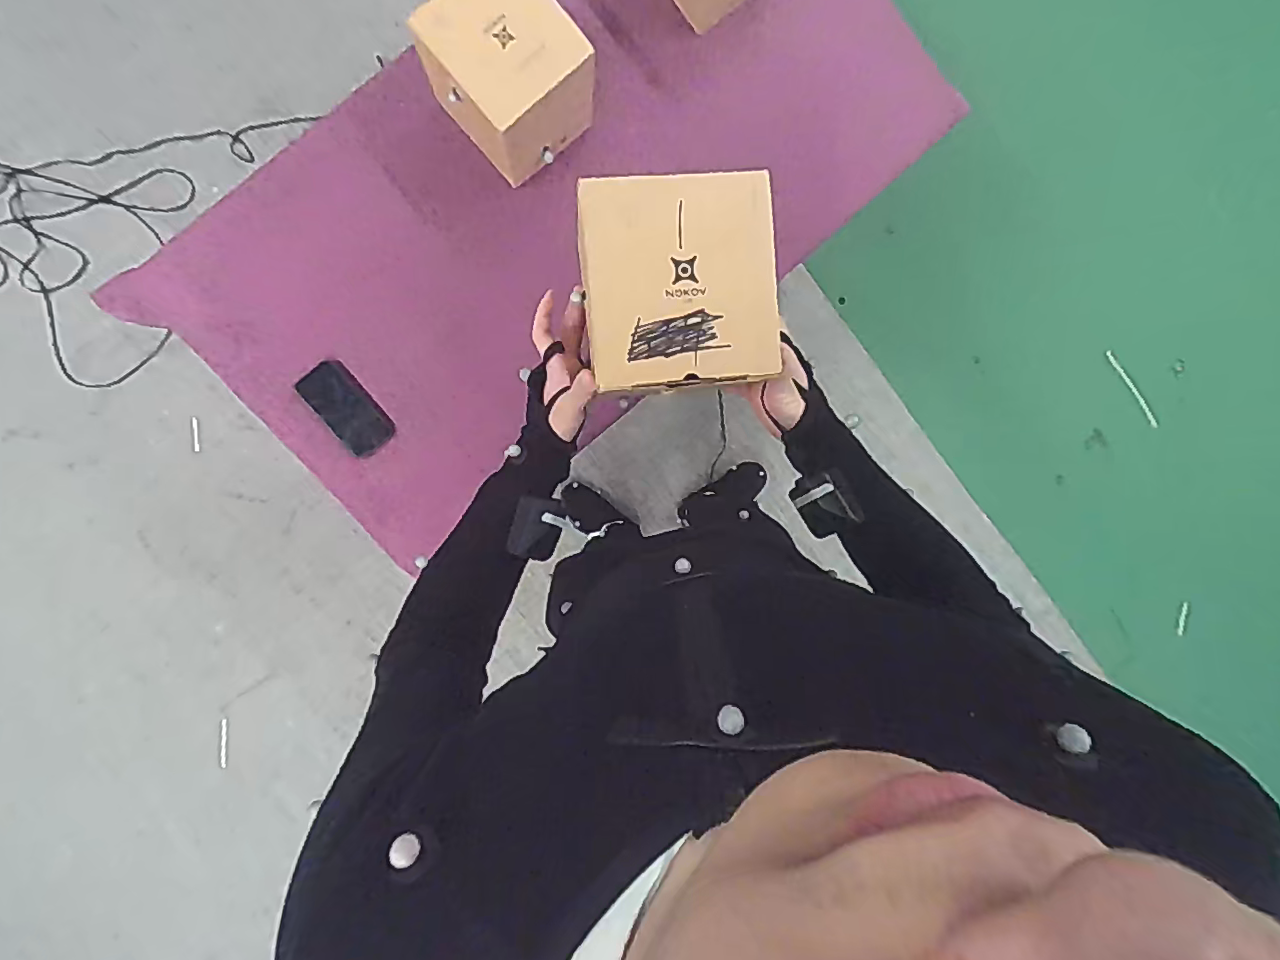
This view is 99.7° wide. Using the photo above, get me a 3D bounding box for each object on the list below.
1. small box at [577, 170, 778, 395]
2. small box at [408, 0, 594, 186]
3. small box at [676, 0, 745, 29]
[{"bbox_3d":[0.029,-0.179,0.540,0.168,0.176,0.179,-5,96,-5],"label":"small box"},{"bbox_3d":[-0.183,-0.565,0.765,0.168,0.176,0.179,-42,97,-1],"label":"small box"},{"bbox_3d":[0.110,-0.820,0.774,0.168,0.176,0.179,-40,96,-1],"label":"small box"}]
